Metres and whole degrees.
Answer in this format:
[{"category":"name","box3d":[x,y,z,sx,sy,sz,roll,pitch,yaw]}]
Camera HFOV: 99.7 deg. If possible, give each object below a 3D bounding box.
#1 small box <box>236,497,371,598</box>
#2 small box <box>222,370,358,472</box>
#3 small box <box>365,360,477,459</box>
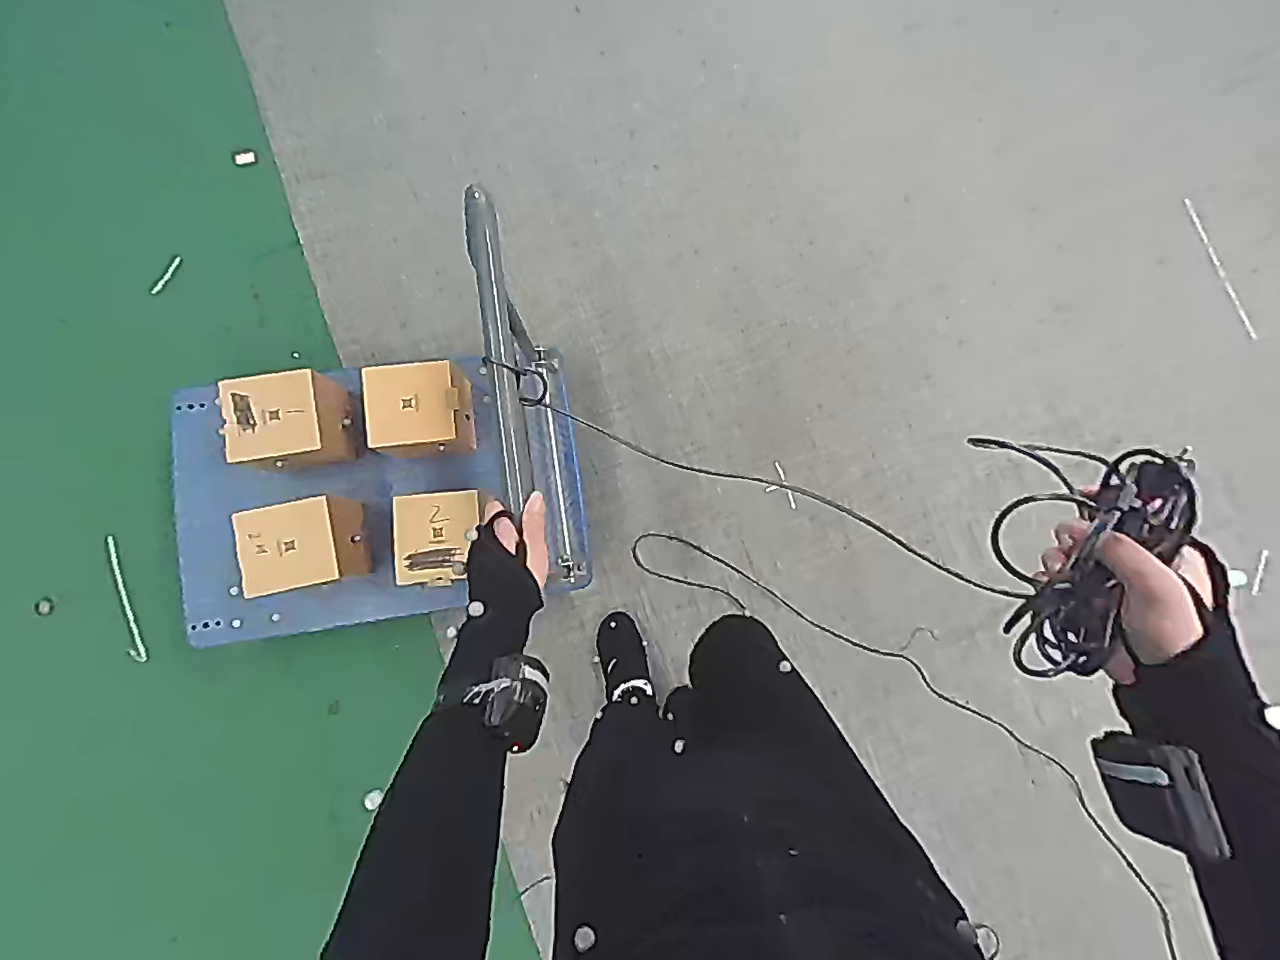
[{"category":"small box","box3d":[-0.674,0.136,1.108,0.179,0.176,0.168,-12,84,-6]},{"category":"small box","box3d":[-0.723,-0.116,1.132,0.179,0.176,0.168,-10,85,-7]},{"category":"small box","box3d":[-0.462,-0.144,1.159,0.179,0.176,0.168,-7,85,-6]}]
